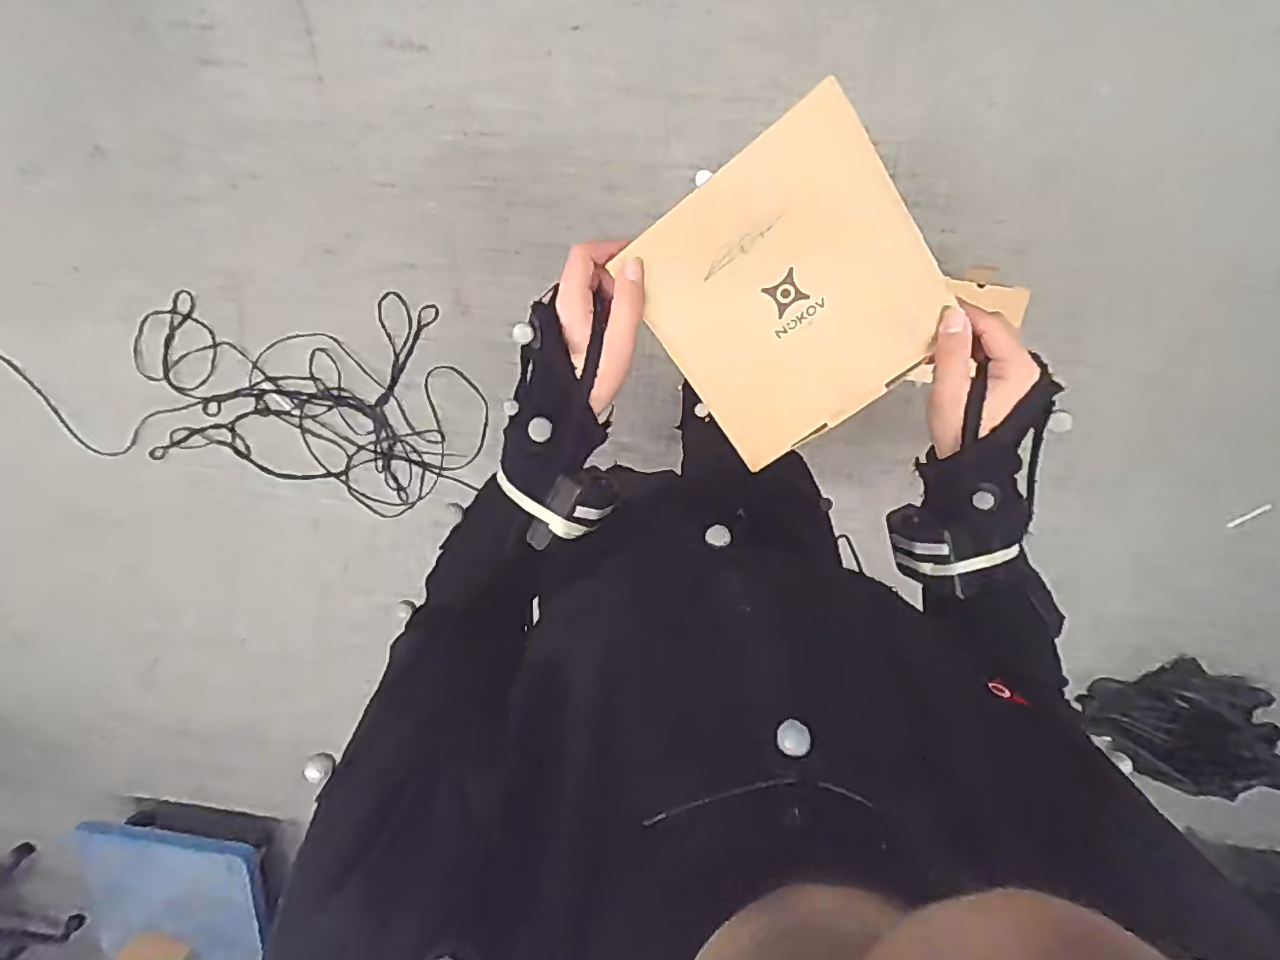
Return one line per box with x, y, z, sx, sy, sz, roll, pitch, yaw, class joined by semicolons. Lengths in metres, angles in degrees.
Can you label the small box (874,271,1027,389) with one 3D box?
0.552;-0.277;0.993;0.168;0.176;0.179;9;108;2;small box
